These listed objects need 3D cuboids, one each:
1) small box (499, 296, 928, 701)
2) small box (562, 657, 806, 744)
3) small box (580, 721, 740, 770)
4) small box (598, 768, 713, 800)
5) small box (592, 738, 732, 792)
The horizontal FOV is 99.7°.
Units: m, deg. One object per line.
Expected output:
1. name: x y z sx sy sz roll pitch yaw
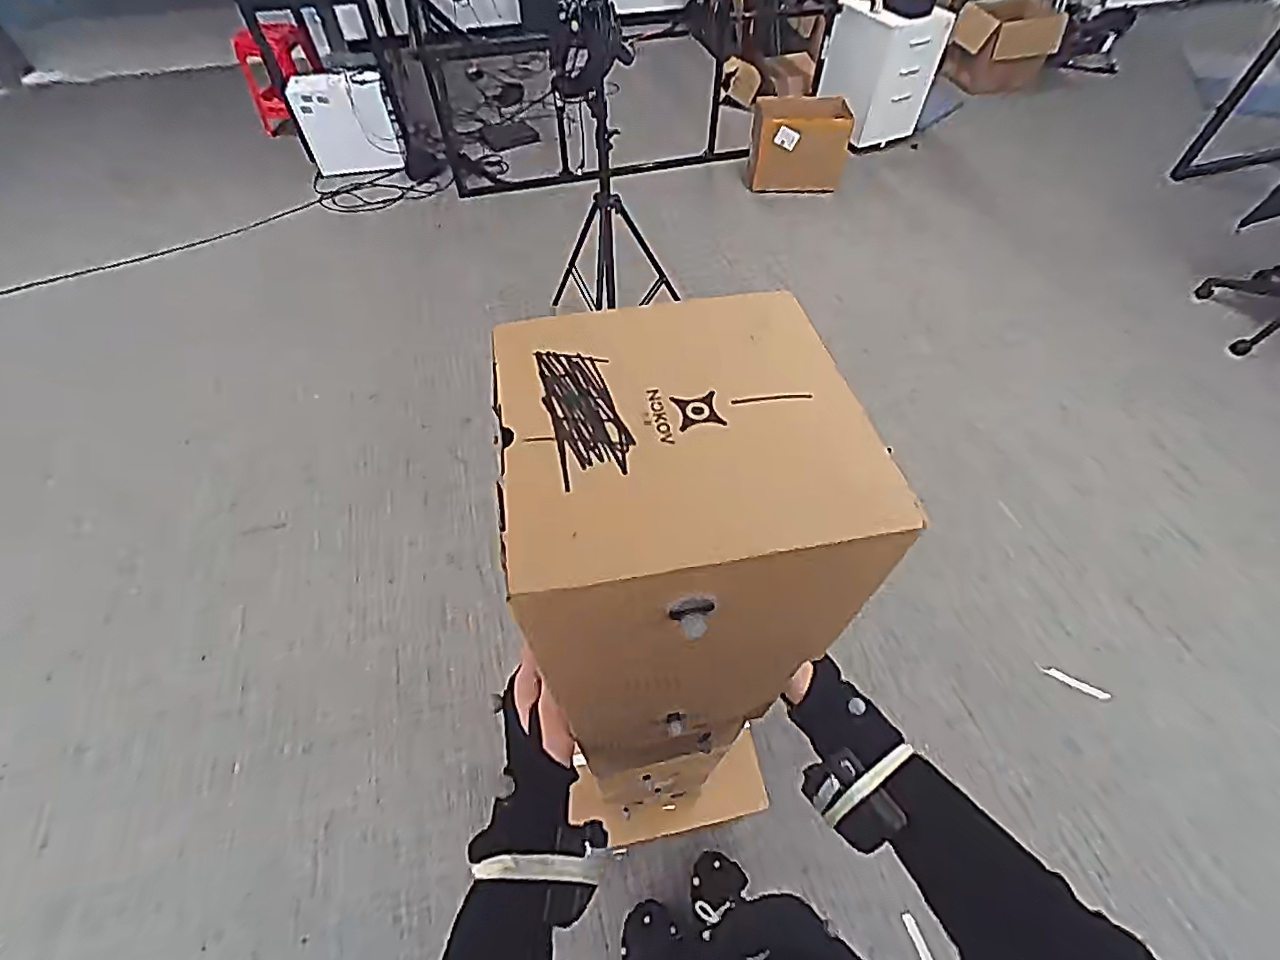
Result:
1. small box: 0.022 0.017 0.324 0.179 0.176 0.168 -8 54 -7
2. small box: 0.017 0.111 0.460 0.168 0.176 0.179 -9 54 -7
3. small box: 0.011 0.203 0.596 0.168 0.176 0.179 -11 53 -9
4. small box: 0.010 0.395 0.859 0.168 0.176 0.179 -9 56 -7
5. small box: 0.013 0.302 0.725 0.168 0.176 0.179 -11 54 -7
